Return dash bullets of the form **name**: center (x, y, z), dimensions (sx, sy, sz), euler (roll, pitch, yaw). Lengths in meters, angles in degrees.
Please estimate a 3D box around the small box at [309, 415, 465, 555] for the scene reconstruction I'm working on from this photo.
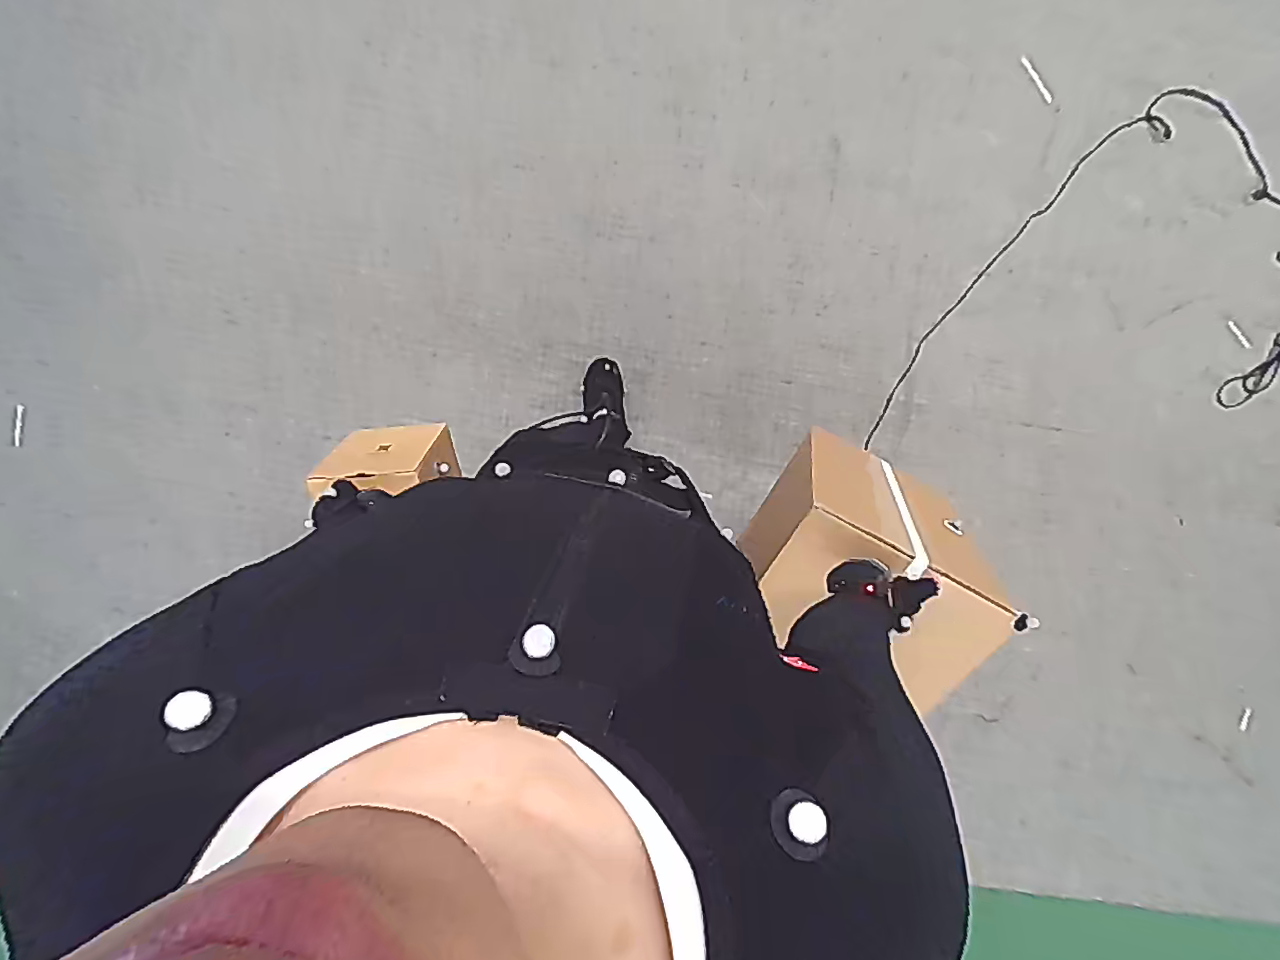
- **small box**: center (-0.407, 0.006, 0.909), dimensions (0.168, 0.179, 0.176), euler (-5, 121, 1)
